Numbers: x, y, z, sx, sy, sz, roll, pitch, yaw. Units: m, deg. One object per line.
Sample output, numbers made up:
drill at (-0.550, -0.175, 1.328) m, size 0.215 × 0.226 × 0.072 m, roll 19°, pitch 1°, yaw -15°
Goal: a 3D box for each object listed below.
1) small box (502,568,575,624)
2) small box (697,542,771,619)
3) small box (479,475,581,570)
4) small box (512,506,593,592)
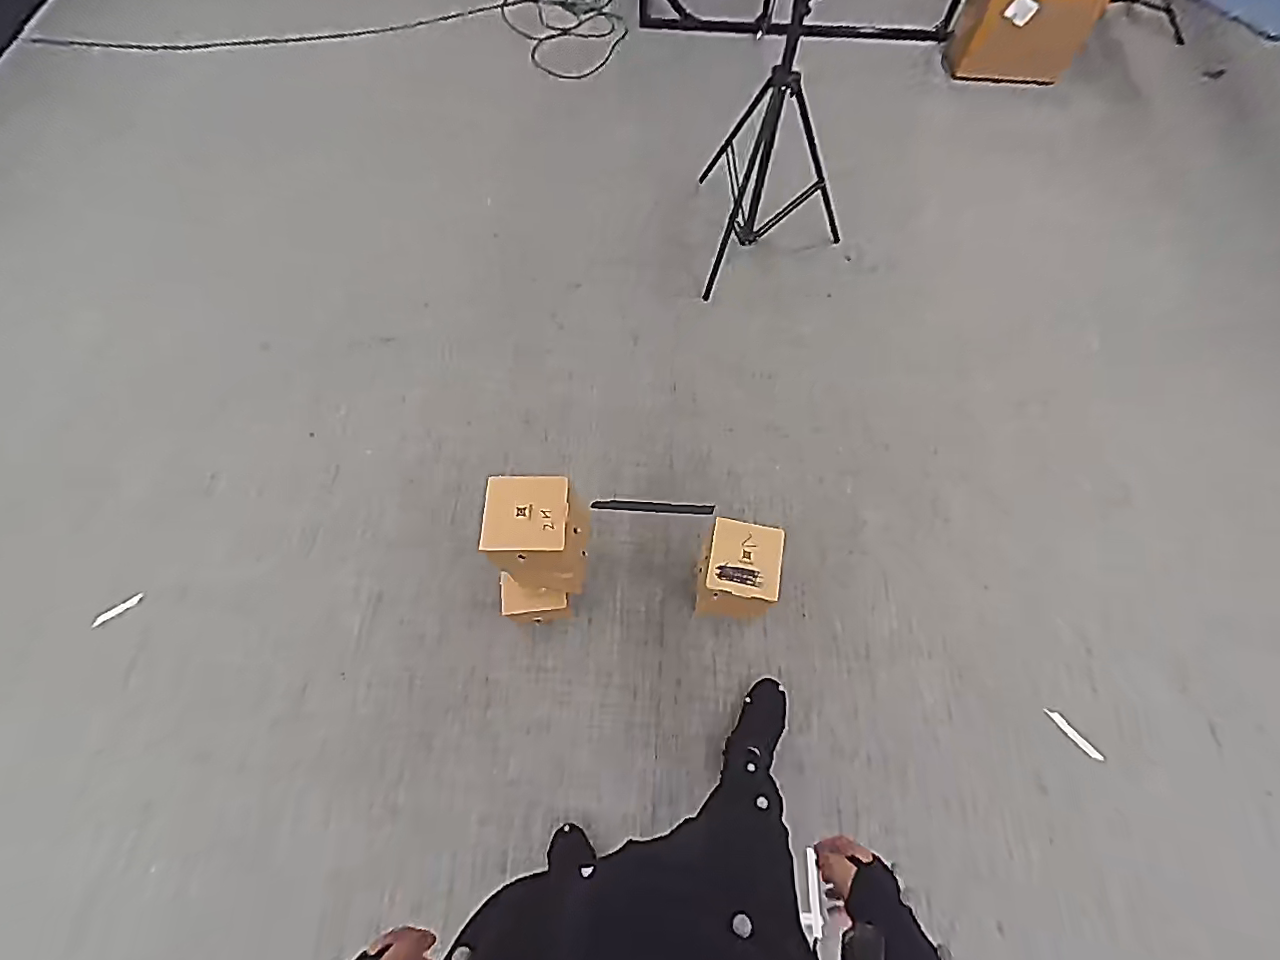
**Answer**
small box at (-0.271, 0.279, 1.458) m, size 0.168 × 0.176 × 0.179 m, roll -6°, pitch 67°, yaw -2°
small box at (0.250, 0.276, 1.458) m, size 0.179 × 0.176 × 0.168 m, roll 5°, pitch 67°, yaw 1°
small box at (-0.231, 0.097, 1.180) m, size 0.179 × 0.176 × 0.168 m, roll 0°, pitch 66°, yaw 1°
small box at (-0.214, 0.164, 1.329) m, size 0.168 × 0.176 × 0.179 m, roll 7°, pitch 67°, yaw 4°
